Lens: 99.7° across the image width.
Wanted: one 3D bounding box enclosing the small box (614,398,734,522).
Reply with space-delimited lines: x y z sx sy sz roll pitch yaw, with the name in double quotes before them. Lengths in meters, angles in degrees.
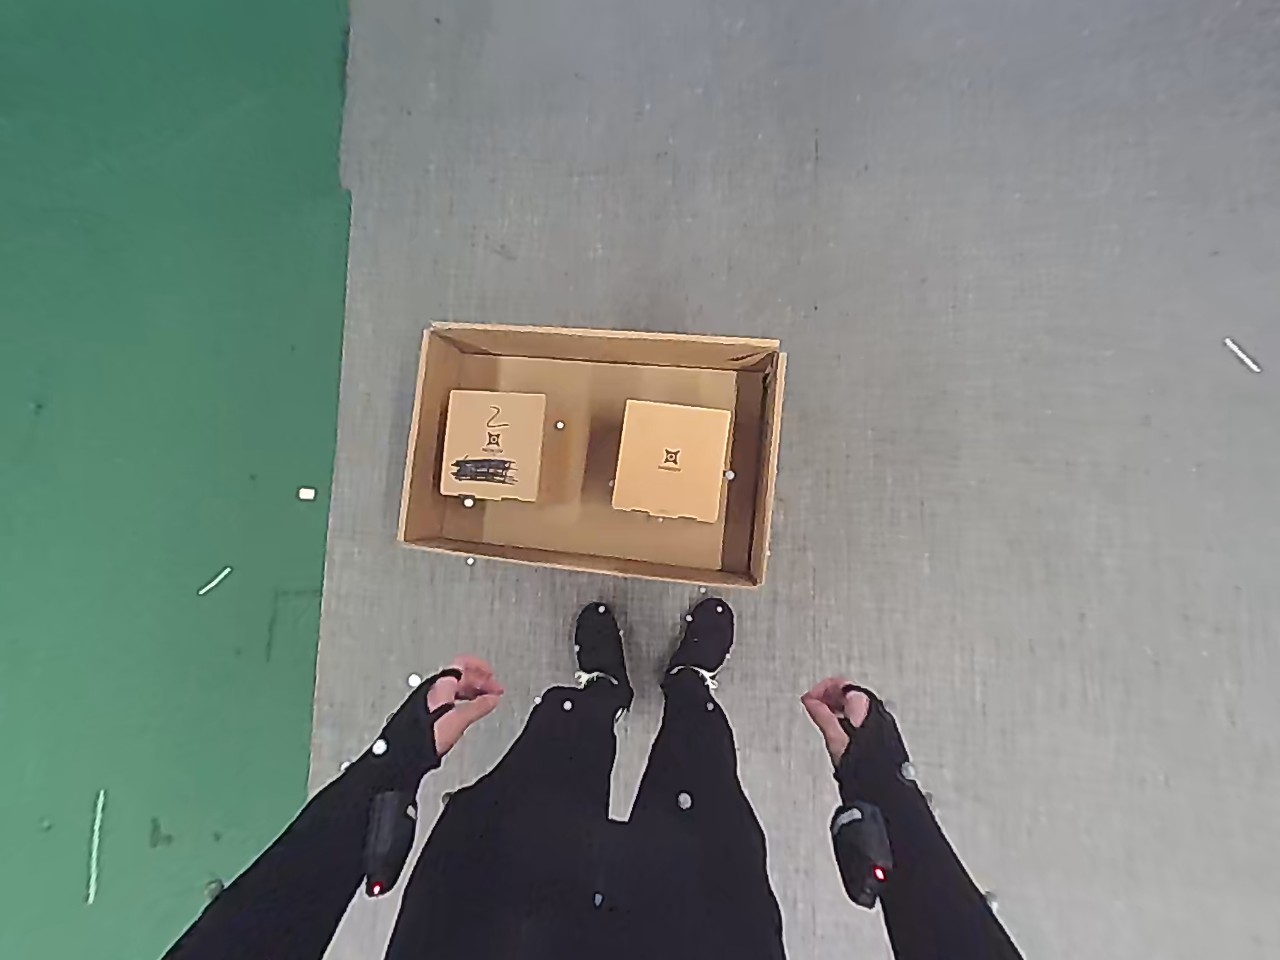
"small box" 0.060 -0.027 0.911 0.168 0.176 0.179 8 88 7
